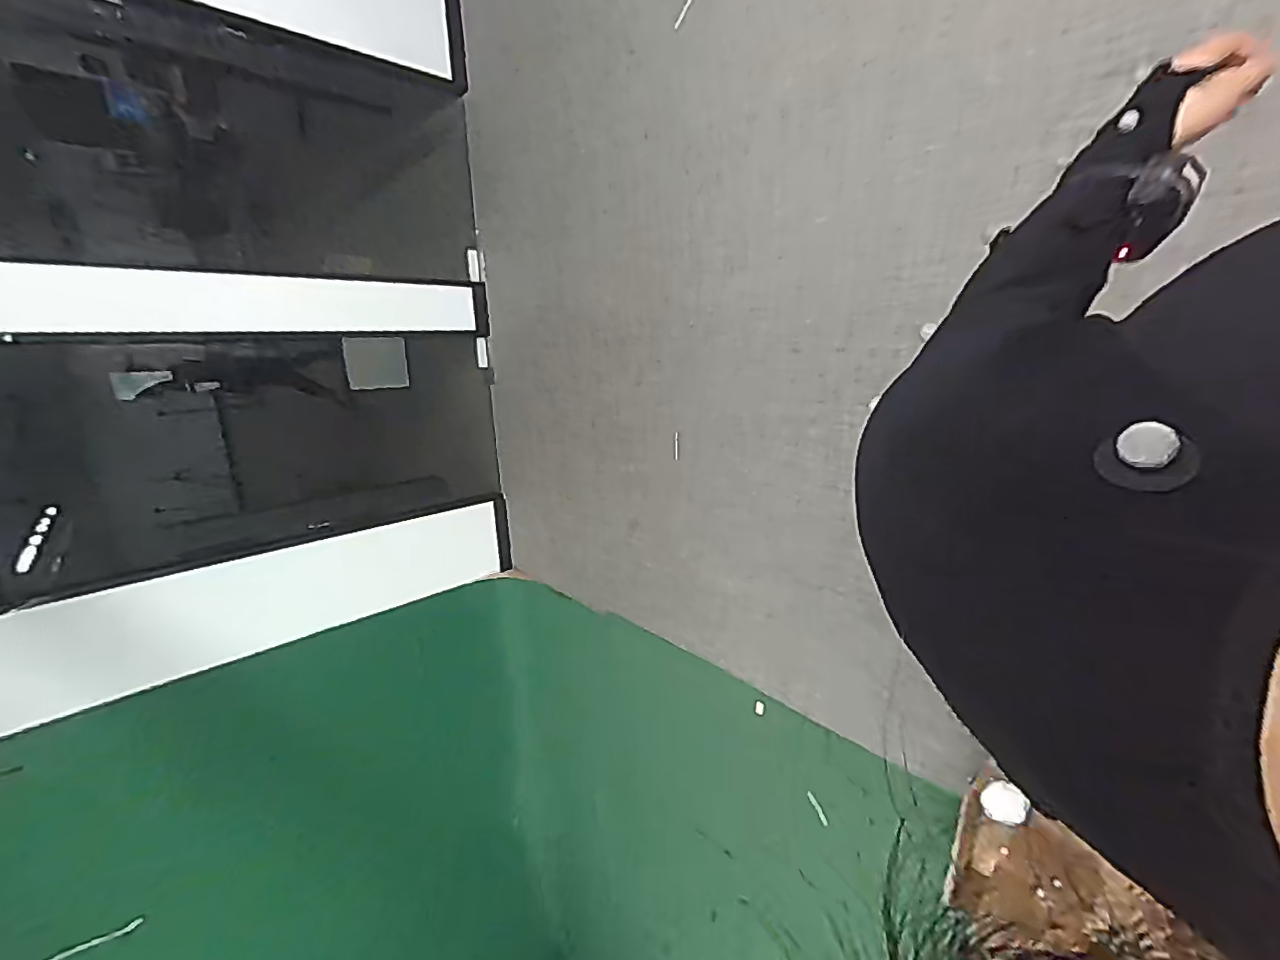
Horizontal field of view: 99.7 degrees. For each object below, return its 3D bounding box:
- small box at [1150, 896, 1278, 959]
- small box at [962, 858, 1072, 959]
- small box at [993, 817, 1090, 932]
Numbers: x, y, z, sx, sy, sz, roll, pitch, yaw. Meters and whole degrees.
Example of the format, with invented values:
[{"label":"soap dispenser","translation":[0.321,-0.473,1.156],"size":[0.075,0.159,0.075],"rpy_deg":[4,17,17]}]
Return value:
[{"label":"small box","translation":[1.137,1.002,1.077],"size":[0.168,0.176,0.179],"rpy_deg":[13,109,46]},{"label":"small box","translation":[0.824,0.992,1.181],"size":[0.168,0.176,0.179],"rpy_deg":[7,103,45]},{"label":"small box","translation":[0.941,0.967,1.291],"size":[0.168,0.176,0.179],"rpy_deg":[20,114,43]}]
